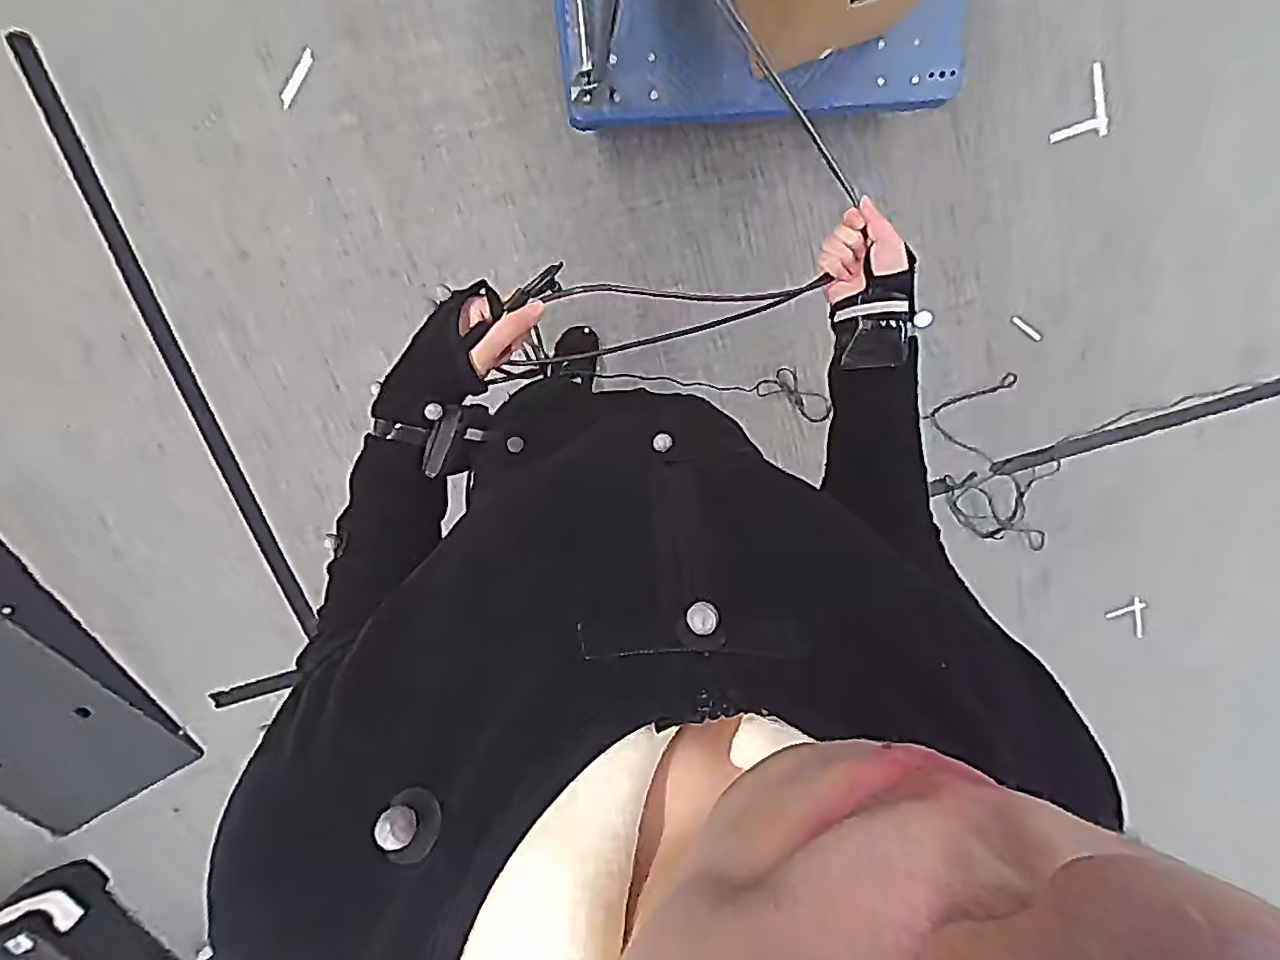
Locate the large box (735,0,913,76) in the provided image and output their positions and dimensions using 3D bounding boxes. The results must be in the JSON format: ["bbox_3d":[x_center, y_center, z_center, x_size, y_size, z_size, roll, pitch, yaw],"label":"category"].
[{"bbox_3d":[0.332,-1.049,0.956,0.320,0.320,0.408,-20,105,0],"label":"large box"}]
